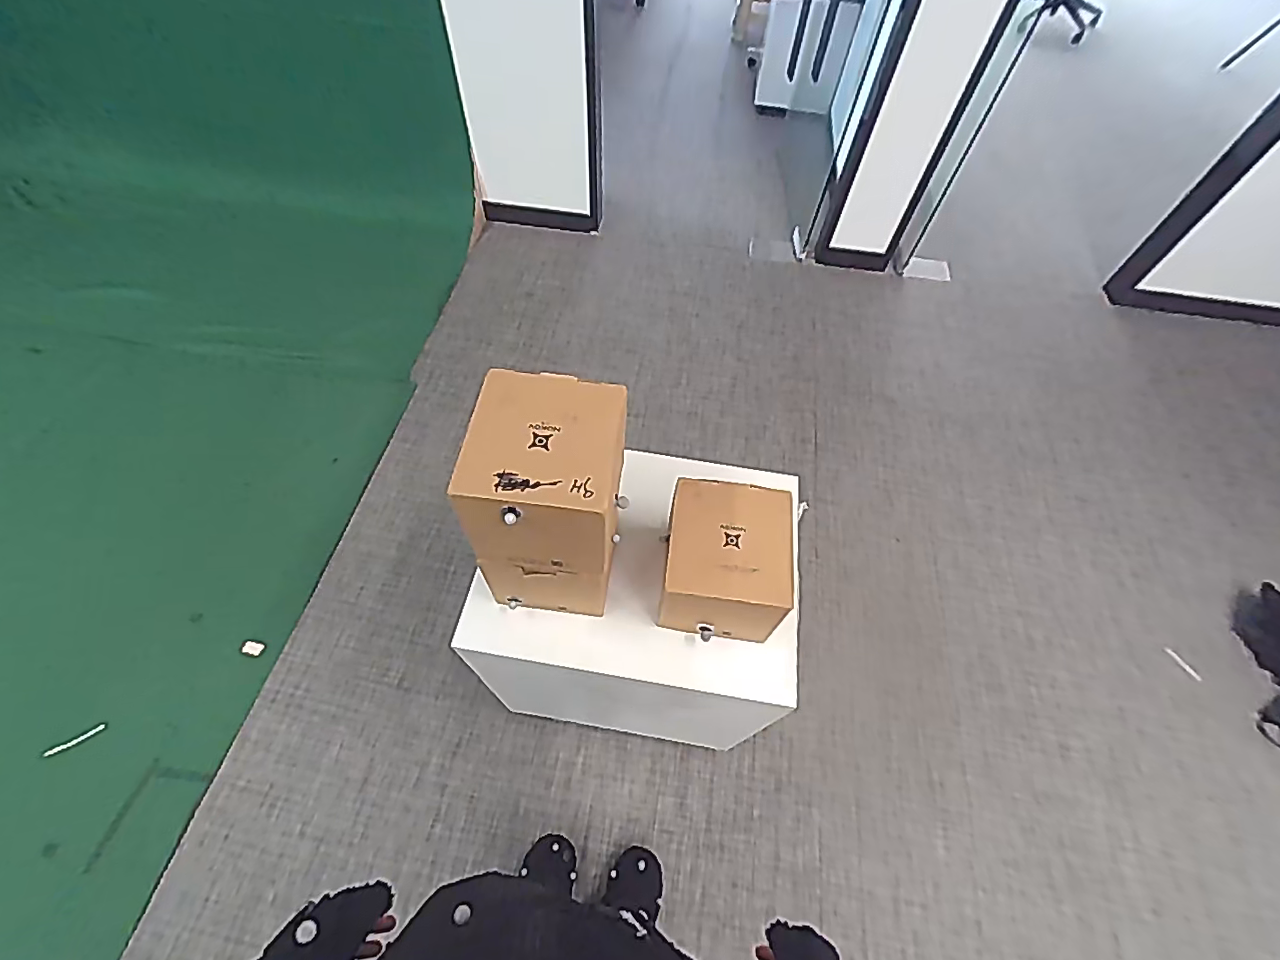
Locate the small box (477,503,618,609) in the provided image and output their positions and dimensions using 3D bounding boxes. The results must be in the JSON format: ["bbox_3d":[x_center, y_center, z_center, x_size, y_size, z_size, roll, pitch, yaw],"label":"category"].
[{"bbox_3d":[-0.123,0.079,0.803,0.168,0.176,0.179,7,57,1],"label":"small box"}]

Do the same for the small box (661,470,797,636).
[{"bbox_3d":[0.121,0.109,0.780,0.168,0.176,0.179,6,60,3],"label":"small box"}]

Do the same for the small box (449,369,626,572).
[{"bbox_3d":[-0.112,-0.007,0.666,0.168,0.176,0.179,7,57,1],"label":"small box"}]
